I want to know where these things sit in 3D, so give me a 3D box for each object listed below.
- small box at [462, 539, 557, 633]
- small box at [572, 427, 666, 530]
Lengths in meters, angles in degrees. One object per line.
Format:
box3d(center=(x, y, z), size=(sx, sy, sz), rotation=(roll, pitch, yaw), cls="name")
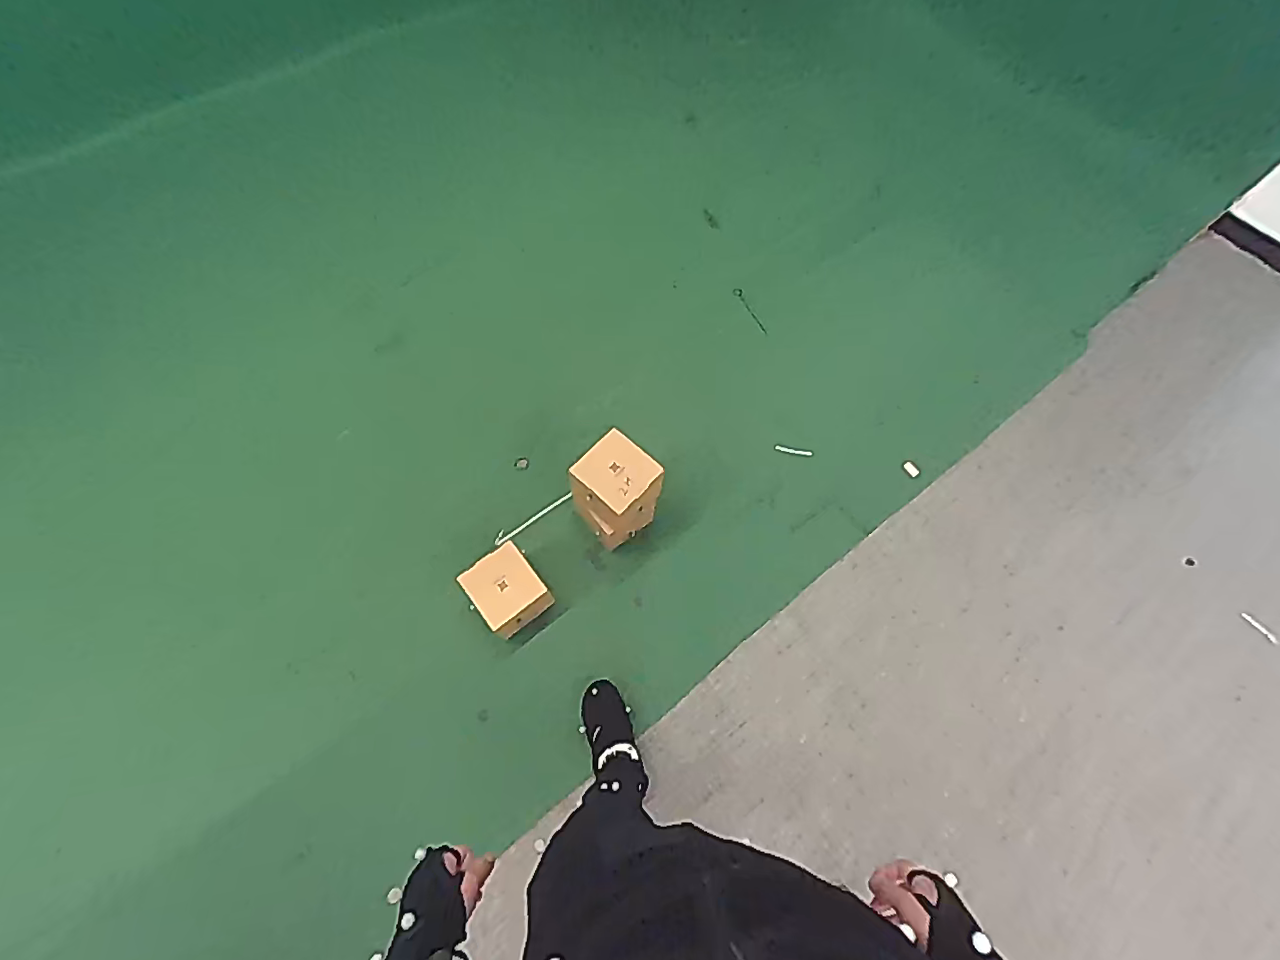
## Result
box3d(center=(-0.341, 0.292, 1.449), size=(0.168, 0.176, 0.179), rotation=(-37, 71, -15), cls="small box")
box3d(center=(-0.053, 0.002, 1.399), size=(0.179, 0.176, 0.168), rotation=(40, 72, 14), cls="small box")
